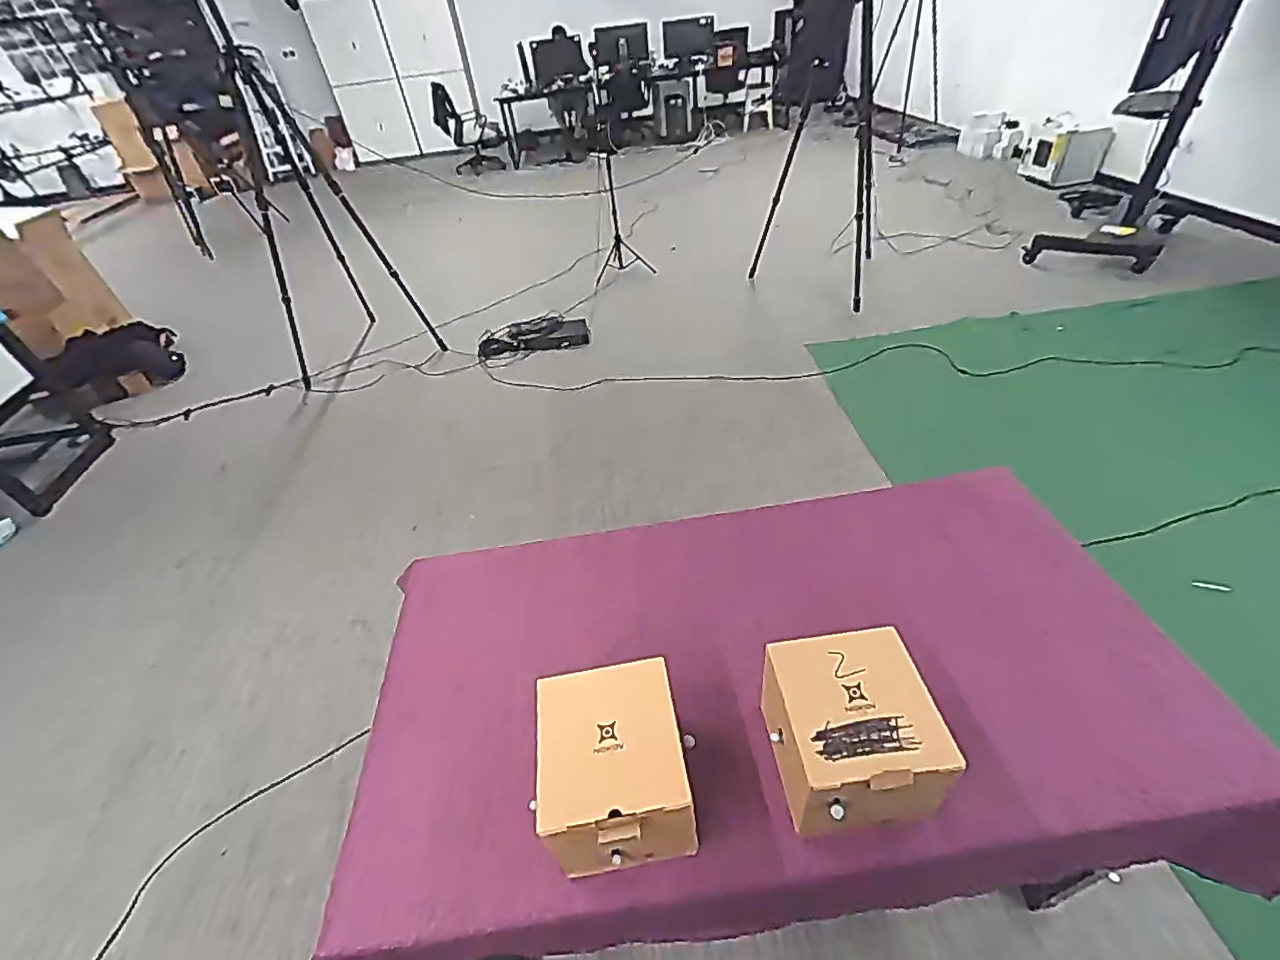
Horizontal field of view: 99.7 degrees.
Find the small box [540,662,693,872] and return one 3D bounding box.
[{"bbox_3d":[-0.030,0.365,0.690,0.168,0.176,0.179,-10,42,-2],"label":"small box"}]
